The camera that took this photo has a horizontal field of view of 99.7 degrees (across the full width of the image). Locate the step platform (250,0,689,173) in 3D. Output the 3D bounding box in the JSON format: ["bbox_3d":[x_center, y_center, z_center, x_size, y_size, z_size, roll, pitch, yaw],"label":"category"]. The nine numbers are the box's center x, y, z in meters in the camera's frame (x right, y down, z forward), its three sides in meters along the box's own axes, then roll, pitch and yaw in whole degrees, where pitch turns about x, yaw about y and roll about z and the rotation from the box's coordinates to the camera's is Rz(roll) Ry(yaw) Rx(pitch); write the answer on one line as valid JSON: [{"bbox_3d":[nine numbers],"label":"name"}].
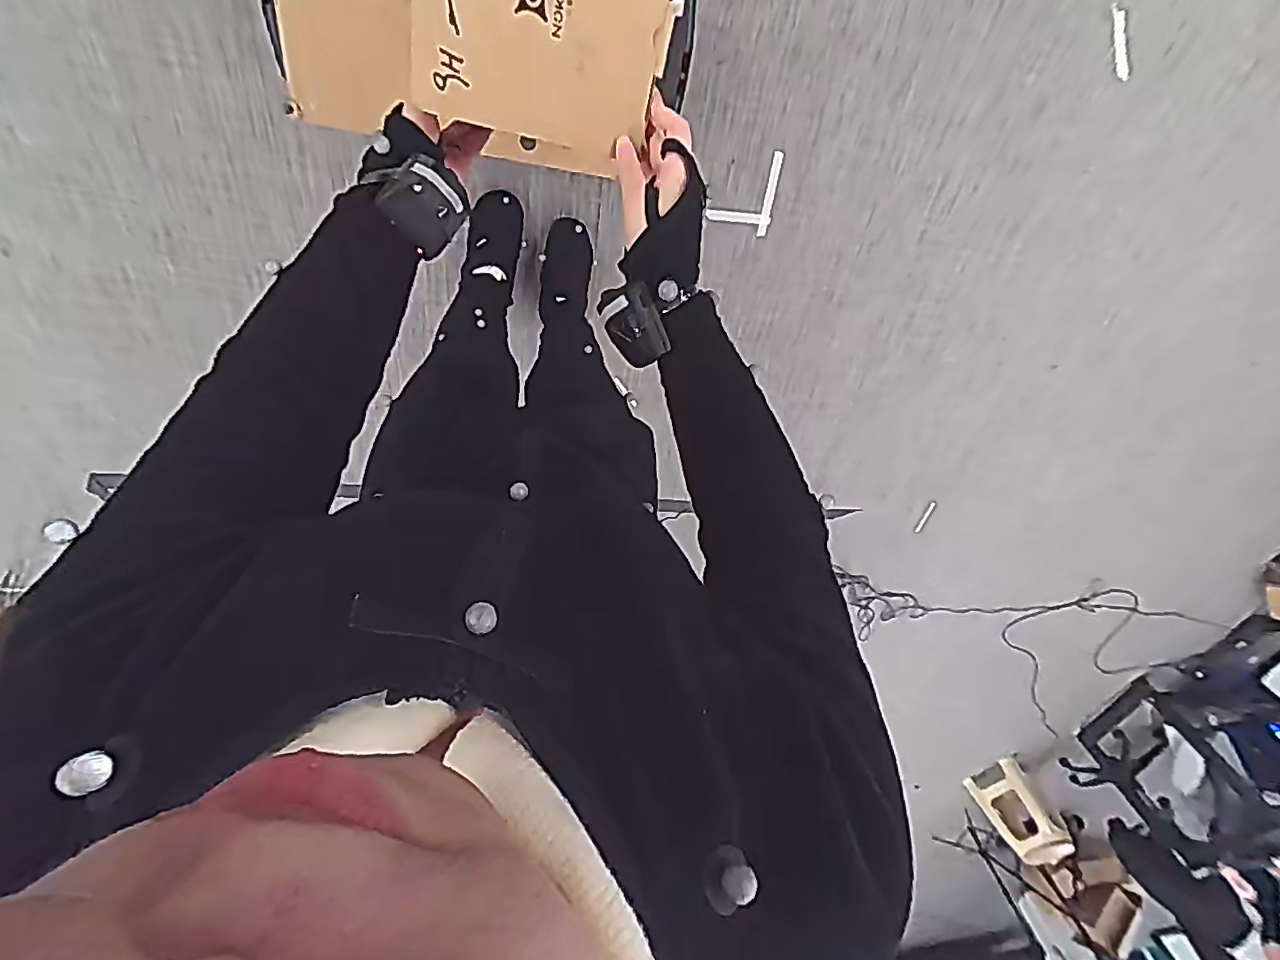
[{"bbox_3d":[-0.263,-0.768,0.921,0.684,0.204,0.286,9,124,-15],"label":"step platform"}]

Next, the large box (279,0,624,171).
[{"bbox_3d":[-0.211,-0.639,0.726,0.408,0.320,0.320,4,125,-11],"label":"large box"}]

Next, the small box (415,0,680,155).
[{"bbox_3d":[-0.073,-0.379,0.427,0.179,0.176,0.168,5,124,-16],"label":"small box"}]
